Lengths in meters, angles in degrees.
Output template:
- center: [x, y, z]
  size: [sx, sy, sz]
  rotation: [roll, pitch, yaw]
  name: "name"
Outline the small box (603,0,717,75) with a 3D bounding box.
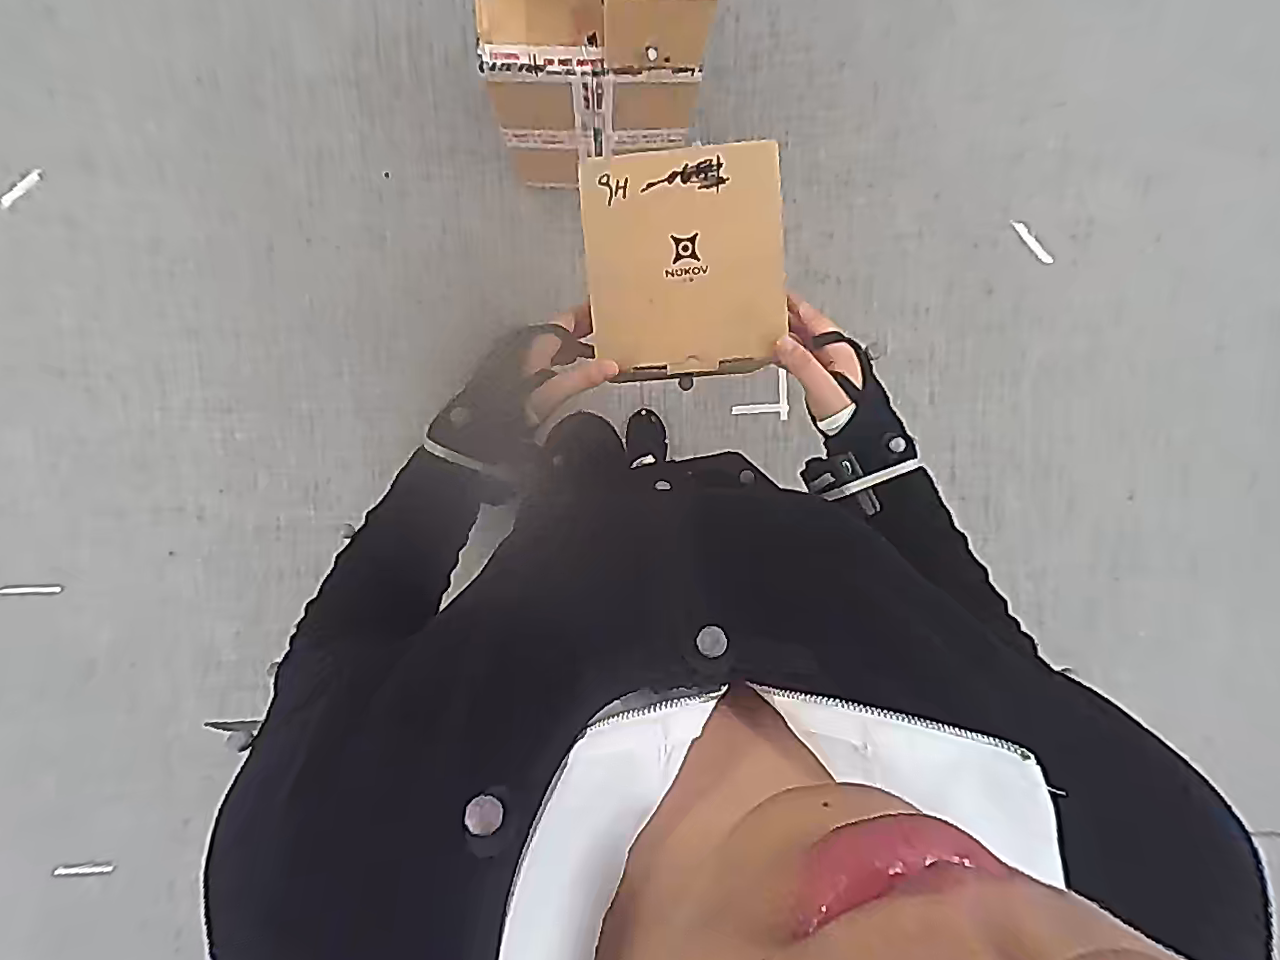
- center: [0.025, -0.786, 0.850]
  size: [0.168, 0.176, 0.179]
  rotation: [-1, 98, -4]
  name: "small box"
